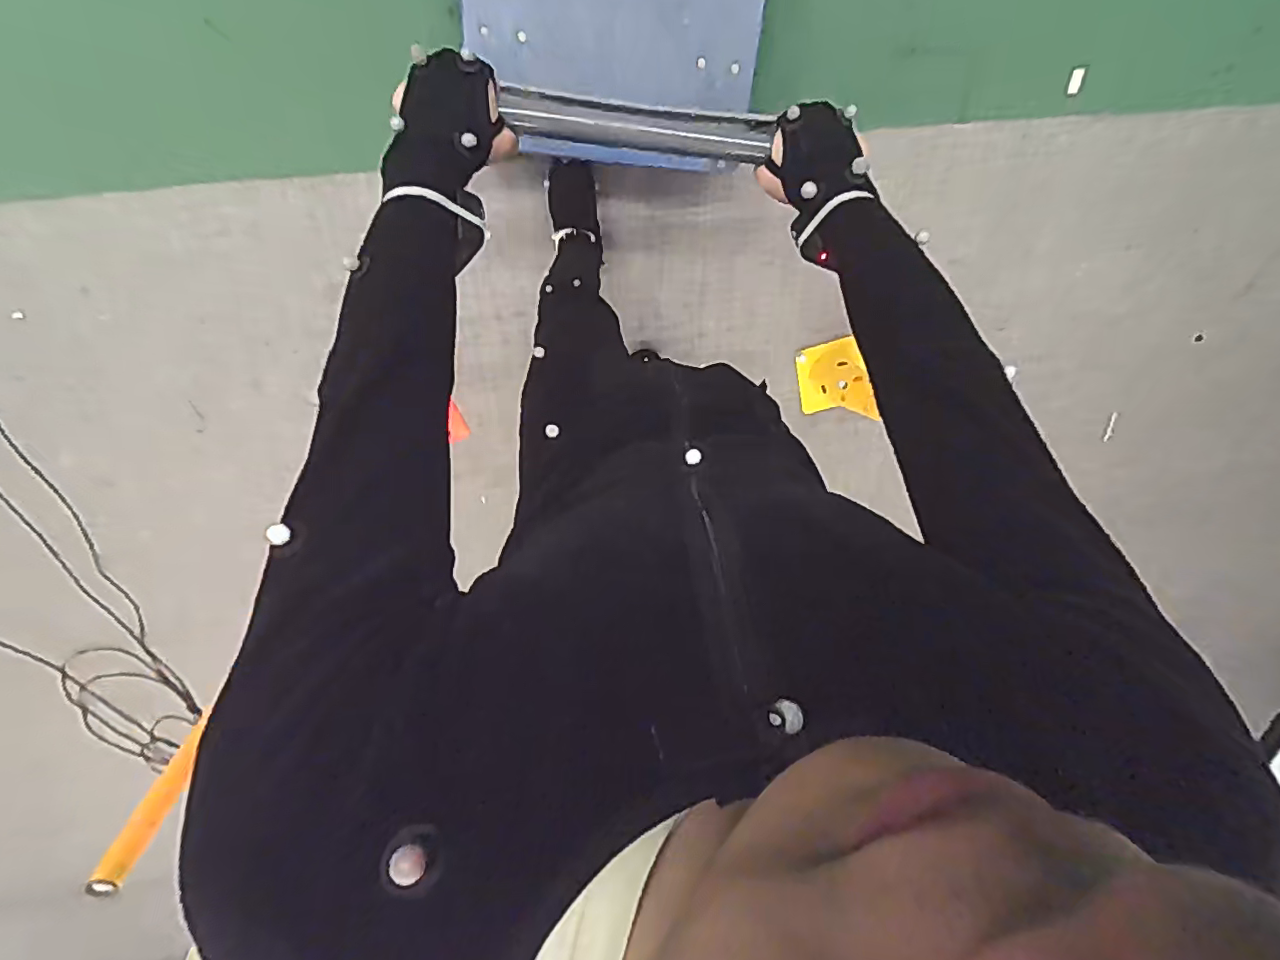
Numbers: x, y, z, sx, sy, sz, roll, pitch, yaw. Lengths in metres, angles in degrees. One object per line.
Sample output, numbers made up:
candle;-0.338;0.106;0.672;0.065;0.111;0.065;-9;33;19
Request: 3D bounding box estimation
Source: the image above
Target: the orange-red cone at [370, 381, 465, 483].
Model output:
orange-red cone;-0.601;-0.087;1.364;0.199;0.360;0.198;-19;117;5
